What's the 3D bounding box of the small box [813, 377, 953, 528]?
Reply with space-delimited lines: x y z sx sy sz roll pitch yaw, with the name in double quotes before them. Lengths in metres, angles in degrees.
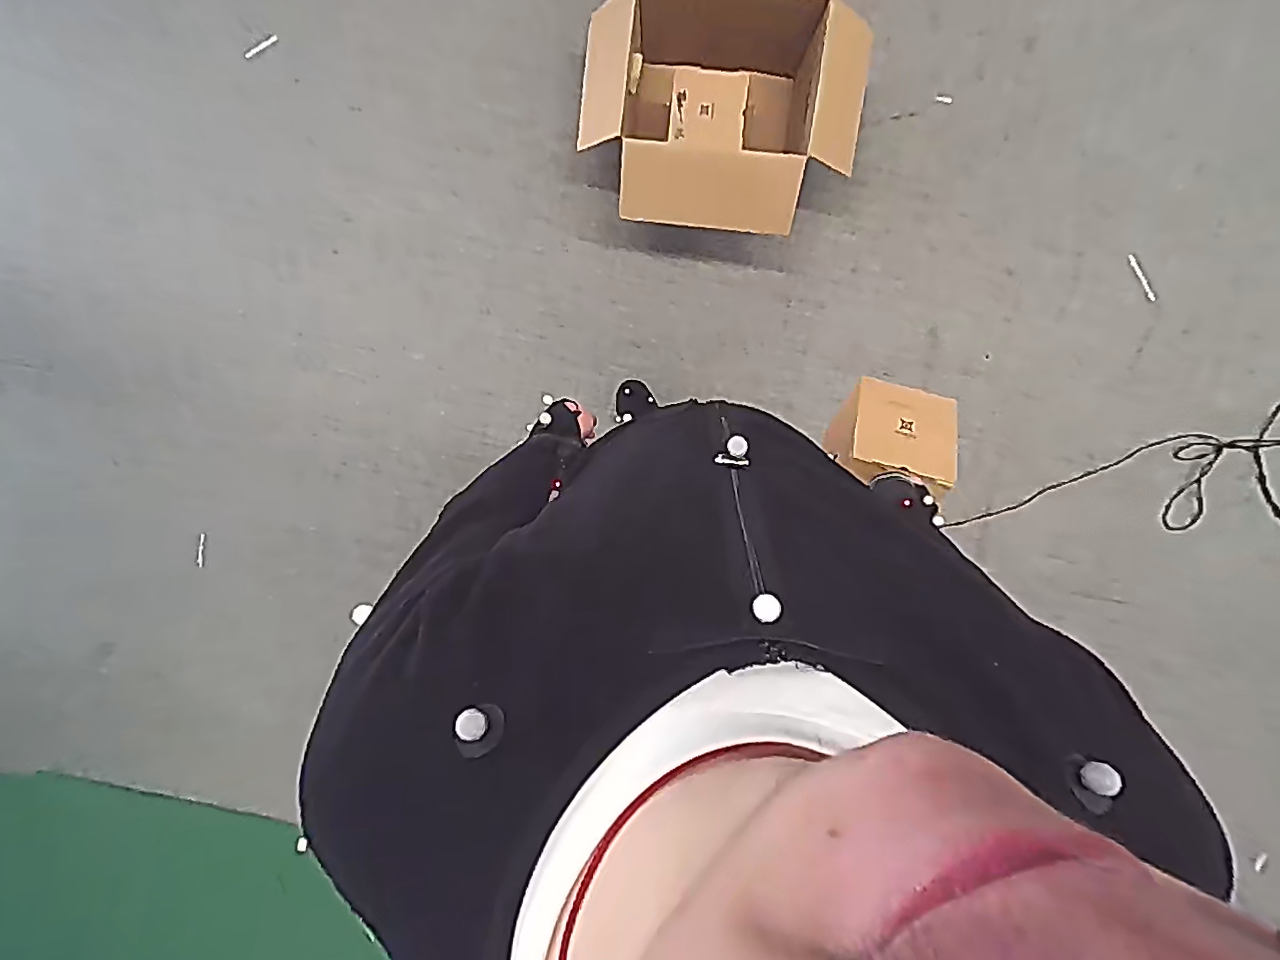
"small box" 0.411 -0.041 0.932 0.168 0.176 0.179 17 59 3
